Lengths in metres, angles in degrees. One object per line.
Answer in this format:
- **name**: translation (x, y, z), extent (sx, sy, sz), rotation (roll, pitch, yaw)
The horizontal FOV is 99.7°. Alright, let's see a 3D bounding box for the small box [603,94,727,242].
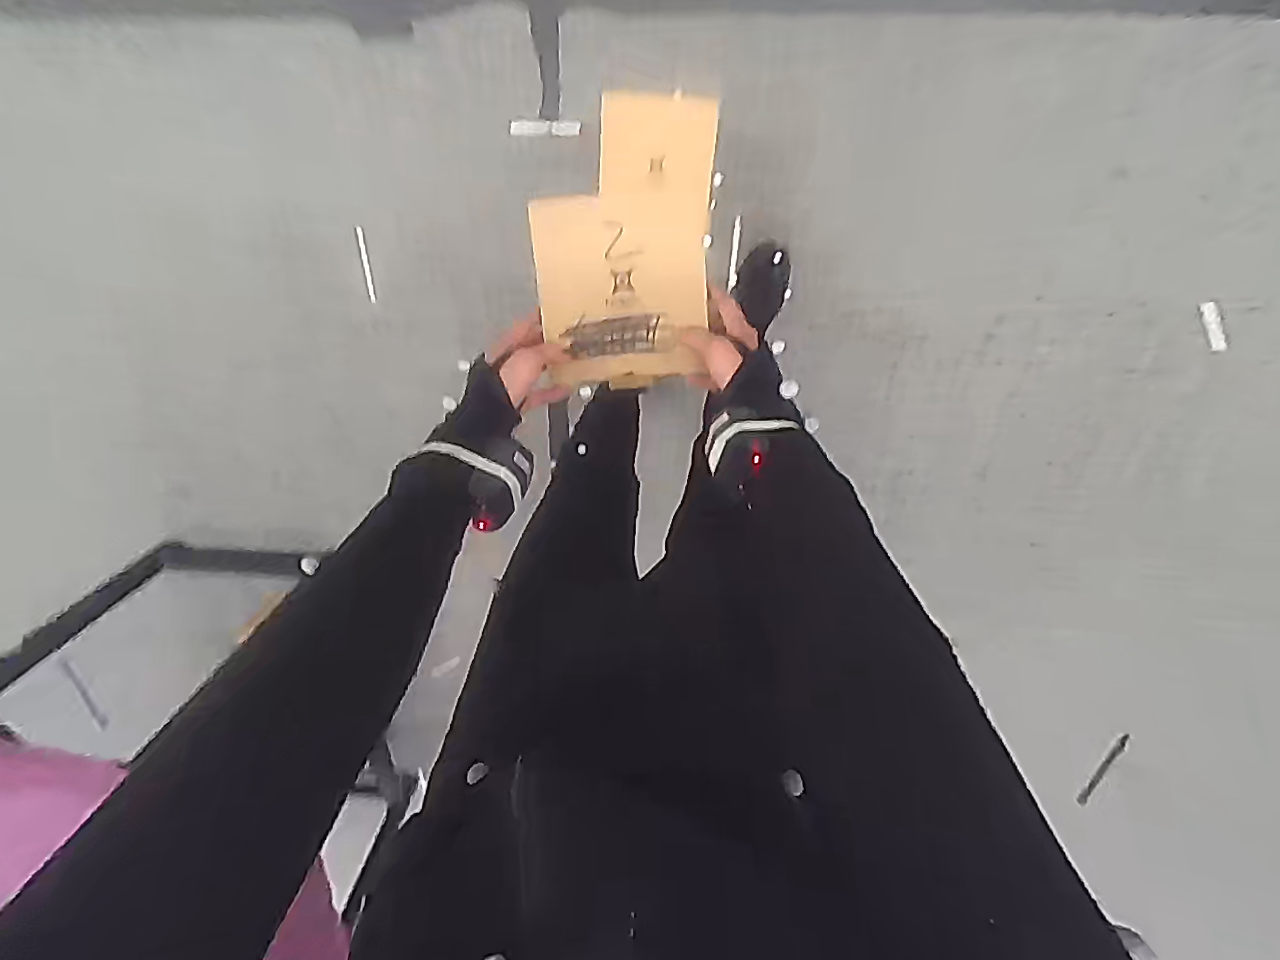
- **small box**: translation (0.035, -0.482, 0.845), extent (0.168, 0.176, 0.179), rotation (5, 121, 2)
